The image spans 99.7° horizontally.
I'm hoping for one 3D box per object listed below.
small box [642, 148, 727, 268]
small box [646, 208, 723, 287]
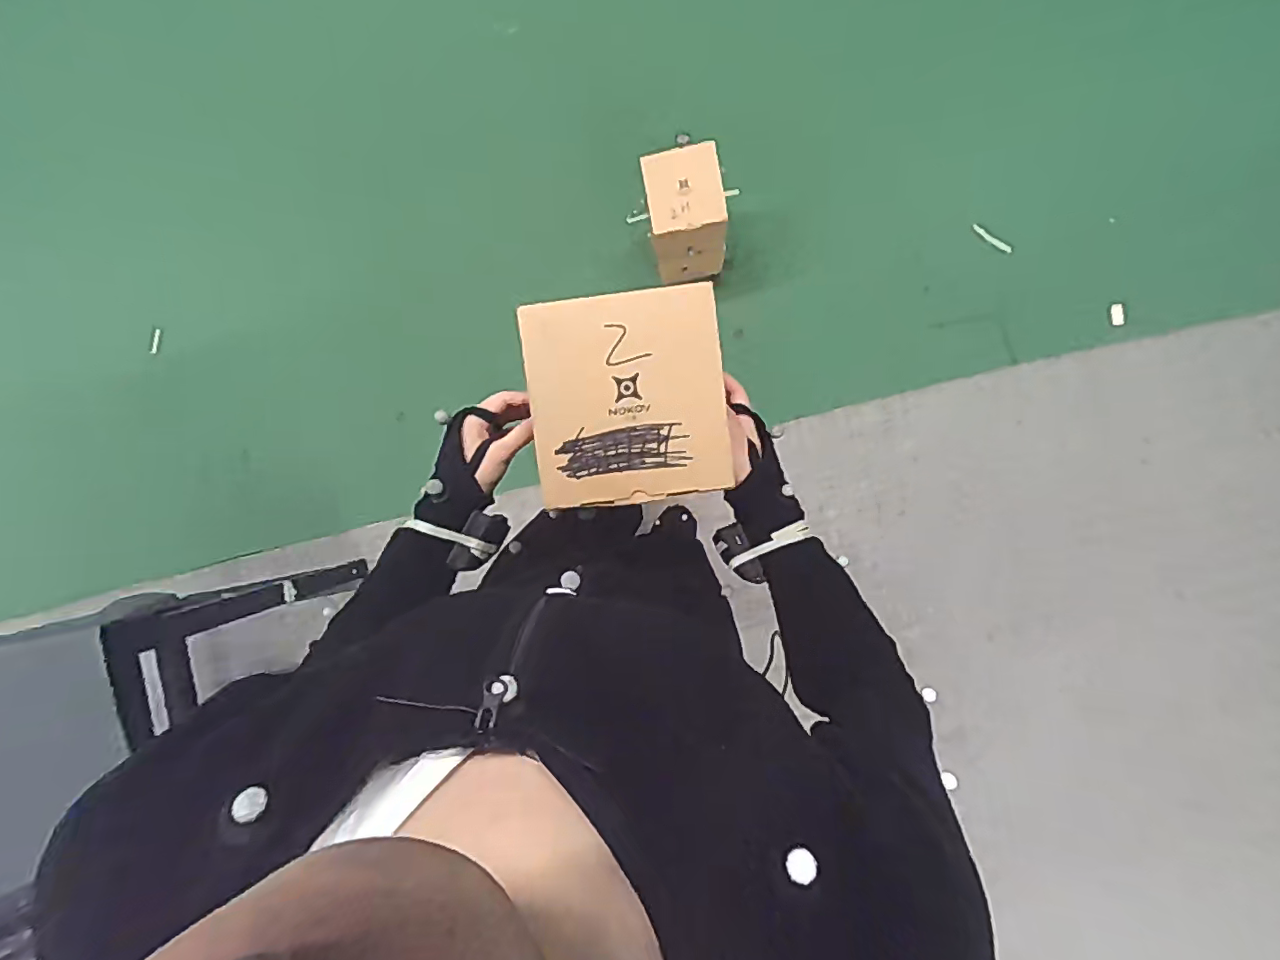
[{"bbox_3d":[0.101,-0.621,1.250,0.168,0.176,0.179,-10,90,5],"label":"small box"},{"bbox_3d":[0.118,-0.622,1.415,0.168,0.176,0.179,-12,89,5],"label":"small box"}]
